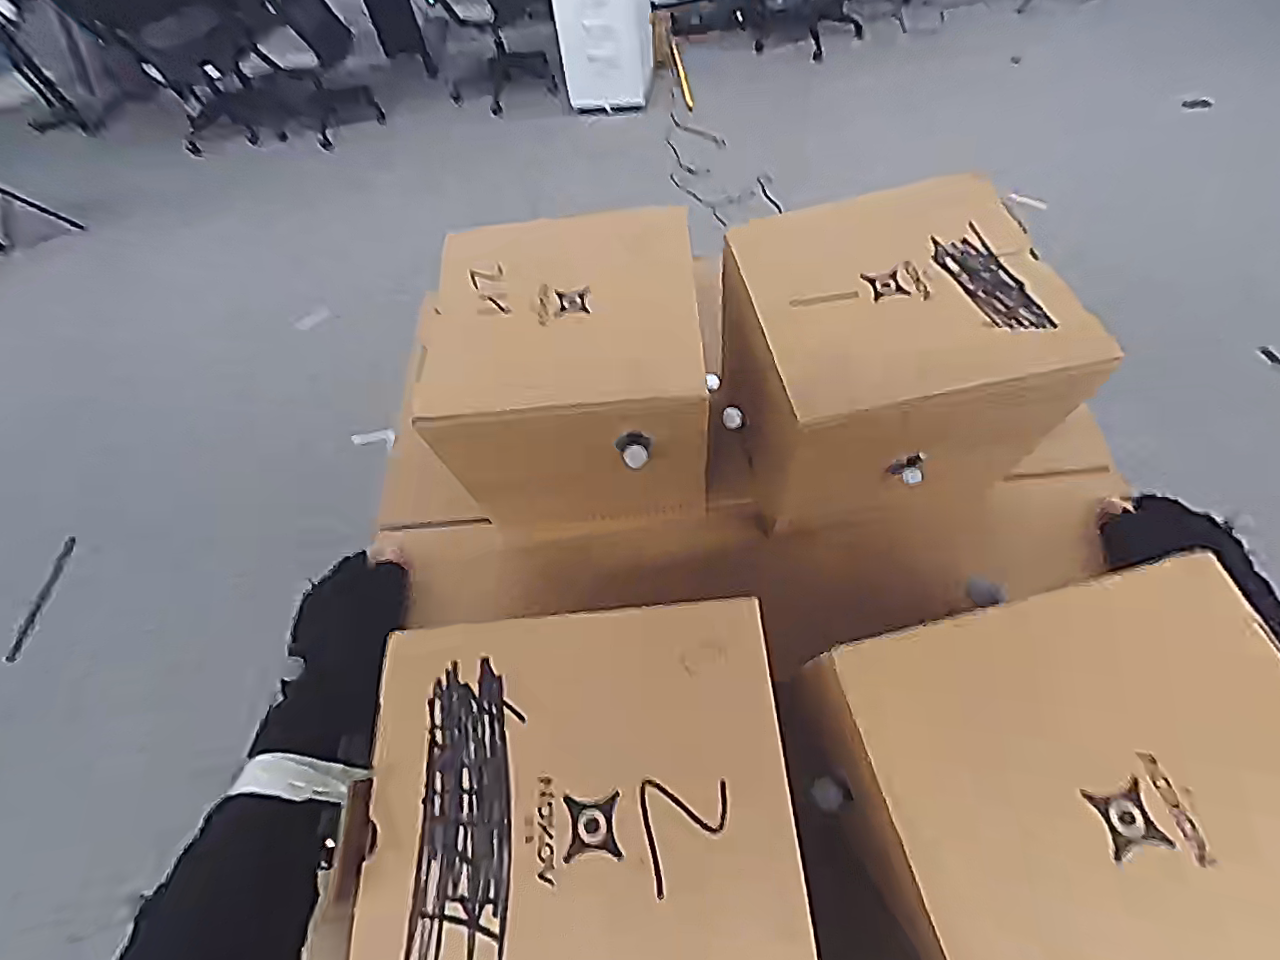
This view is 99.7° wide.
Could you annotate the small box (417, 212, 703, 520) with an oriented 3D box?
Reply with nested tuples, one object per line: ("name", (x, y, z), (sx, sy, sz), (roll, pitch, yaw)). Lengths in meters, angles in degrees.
("small box", (-0.043, -0.078, 0.429), (0.179, 0.176, 0.168), (-4, 61, 5))

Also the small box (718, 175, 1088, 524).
("small box", (0.160, -0.084, 0.406), (0.179, 0.176, 0.168), (-12, 61, 2))
